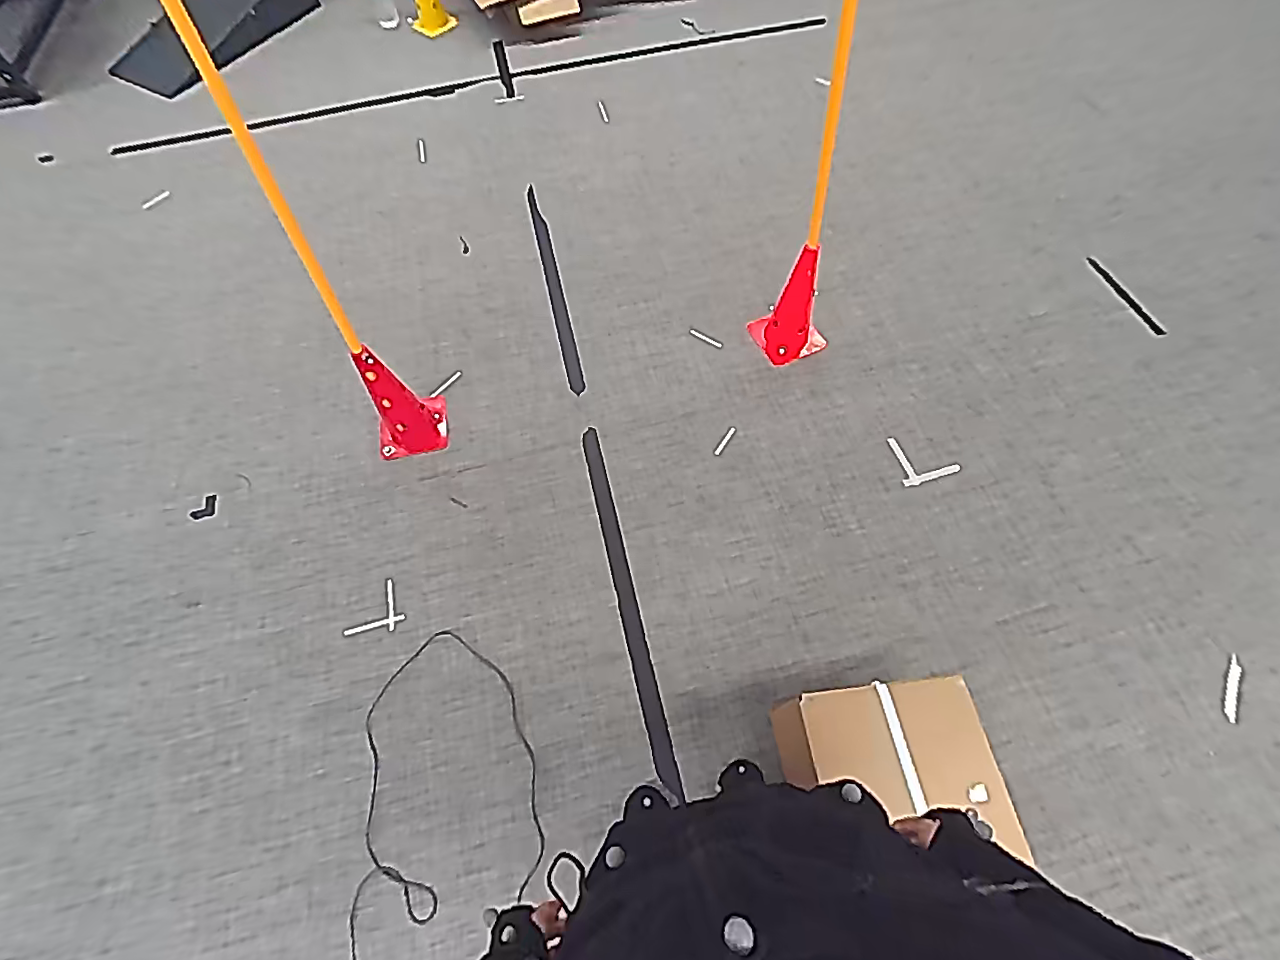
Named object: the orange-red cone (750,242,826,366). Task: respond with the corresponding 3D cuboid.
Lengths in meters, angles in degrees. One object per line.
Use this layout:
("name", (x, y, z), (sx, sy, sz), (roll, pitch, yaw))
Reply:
("orange-red cone", (0.474, -0.543, 1.598), (0.199, 0.360, 0.198), (-21, 65, -10))
